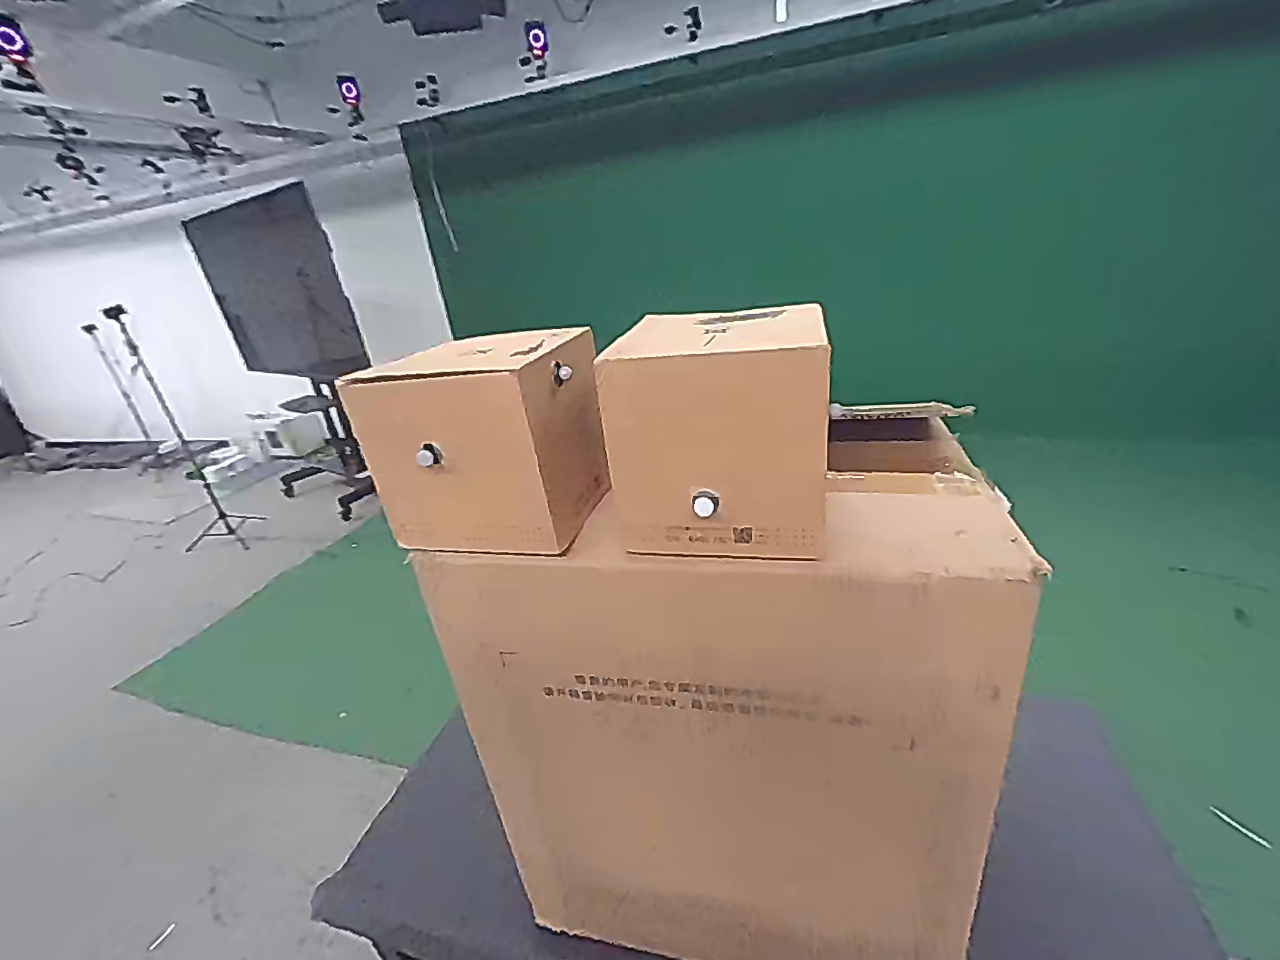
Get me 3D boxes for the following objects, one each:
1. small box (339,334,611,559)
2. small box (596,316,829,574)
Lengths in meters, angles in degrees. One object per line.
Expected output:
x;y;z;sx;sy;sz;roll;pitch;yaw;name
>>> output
-0.142;-0.036;0.530;0.179;0.176;0.168;0;27;17;small box
0.073;-0.040;0.477;0.168;0.176;0.179;1;27;16;small box
